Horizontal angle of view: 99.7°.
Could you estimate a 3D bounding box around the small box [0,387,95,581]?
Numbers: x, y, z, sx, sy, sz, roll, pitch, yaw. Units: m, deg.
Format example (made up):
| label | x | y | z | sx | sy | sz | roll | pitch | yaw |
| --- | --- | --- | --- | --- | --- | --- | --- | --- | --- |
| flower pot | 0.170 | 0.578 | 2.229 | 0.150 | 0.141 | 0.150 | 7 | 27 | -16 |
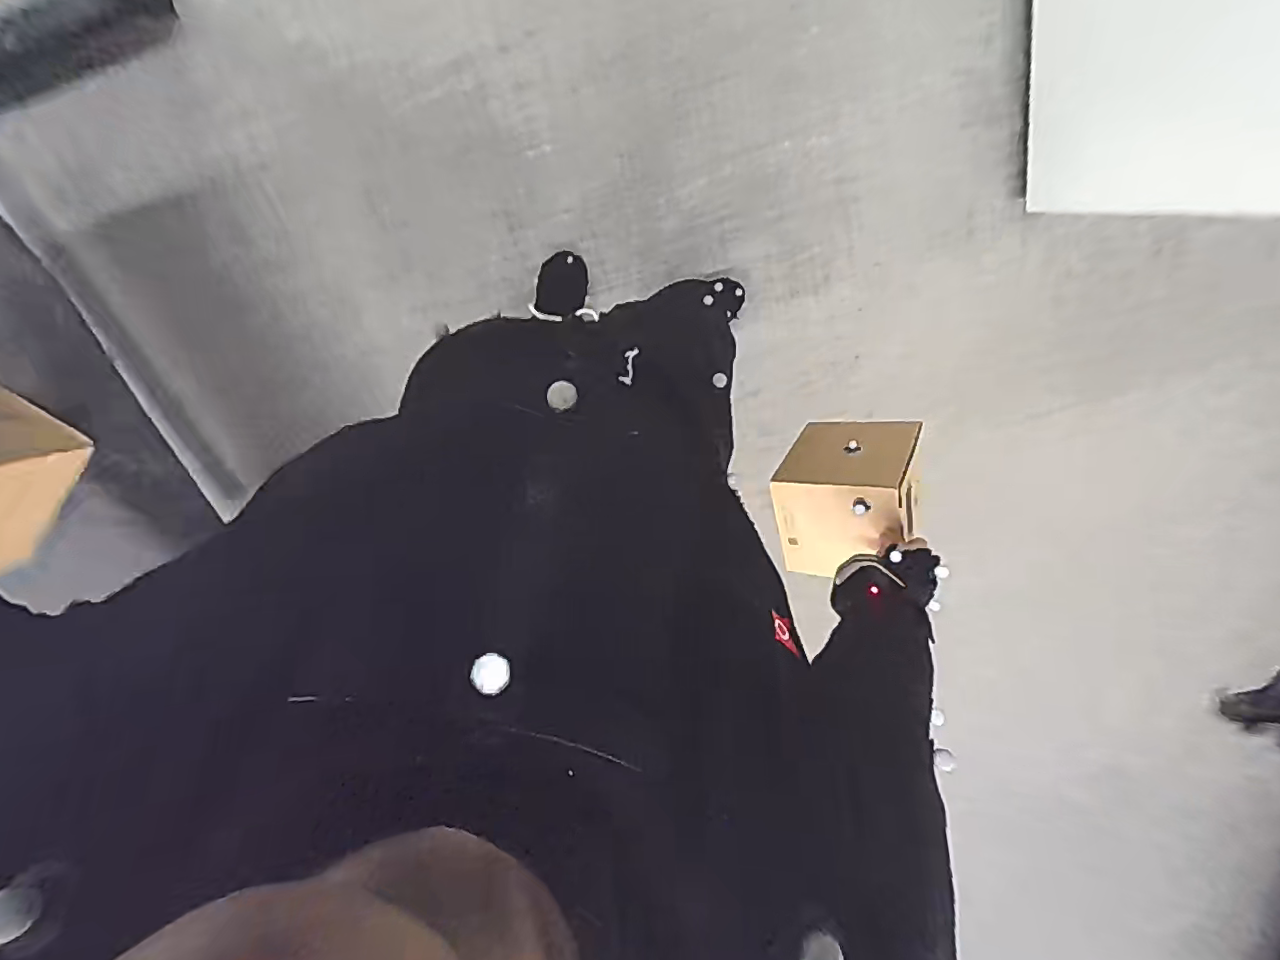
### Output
| label | x | y | z | sx | sy | sz | roll | pitch | yaw |
| --- | --- | --- | --- | --- | --- | --- | --- | --- | --- |
| small box | -0.688 | 0.009 | 0.508 | 0.168 | 0.176 | 0.179 | 33 | 100 | -12 |
